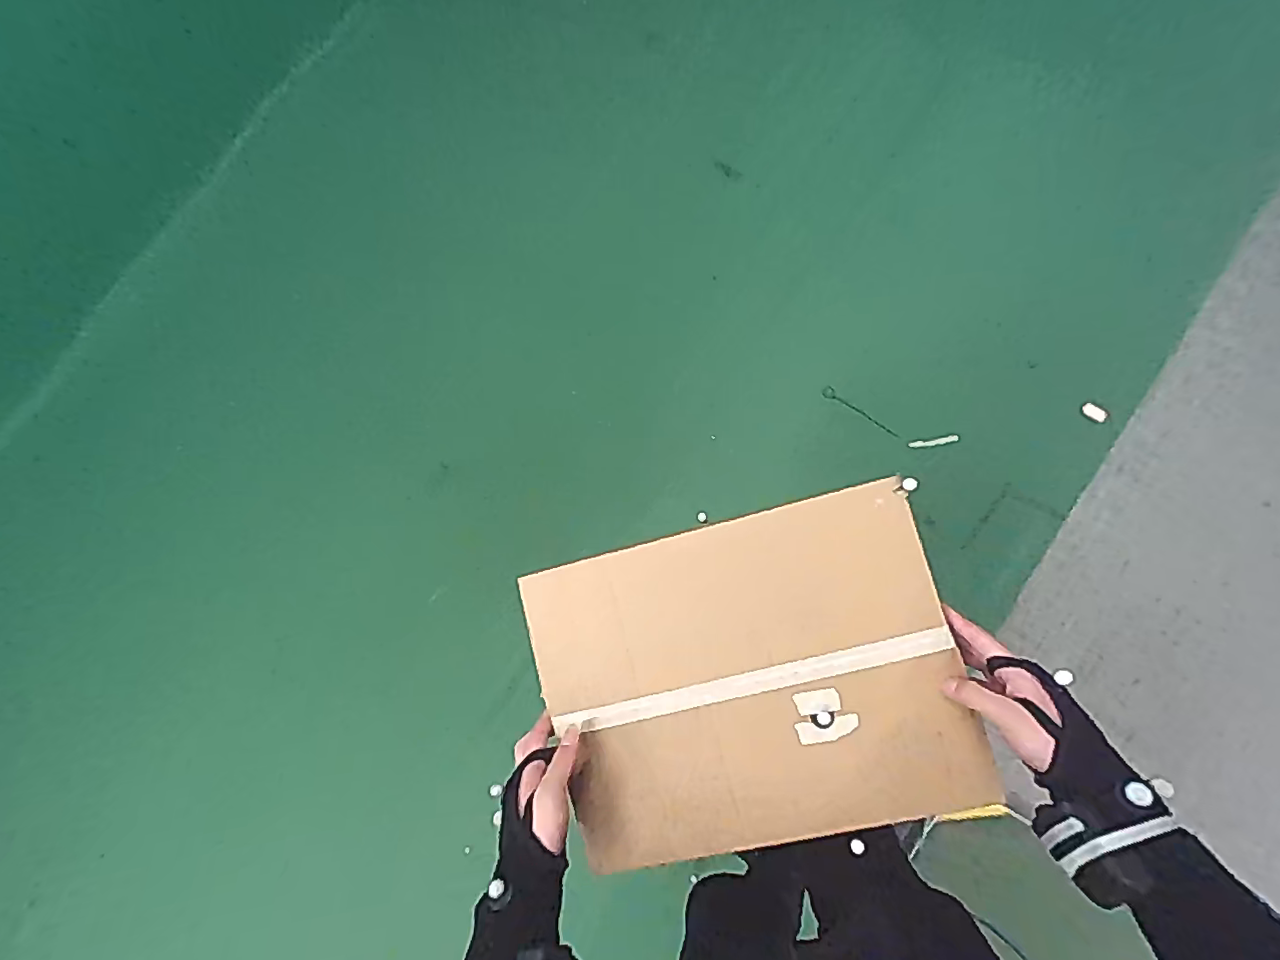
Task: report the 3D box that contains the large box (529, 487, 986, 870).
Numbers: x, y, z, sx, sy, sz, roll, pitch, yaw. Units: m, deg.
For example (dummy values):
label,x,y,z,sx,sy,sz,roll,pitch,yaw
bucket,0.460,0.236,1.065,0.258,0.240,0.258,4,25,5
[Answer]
label,x,y,z,sx,sy,sz,roll,pitch,yaw
large box,0.125,0.218,0.699,0.408,0.320,0.320,-15,85,8
